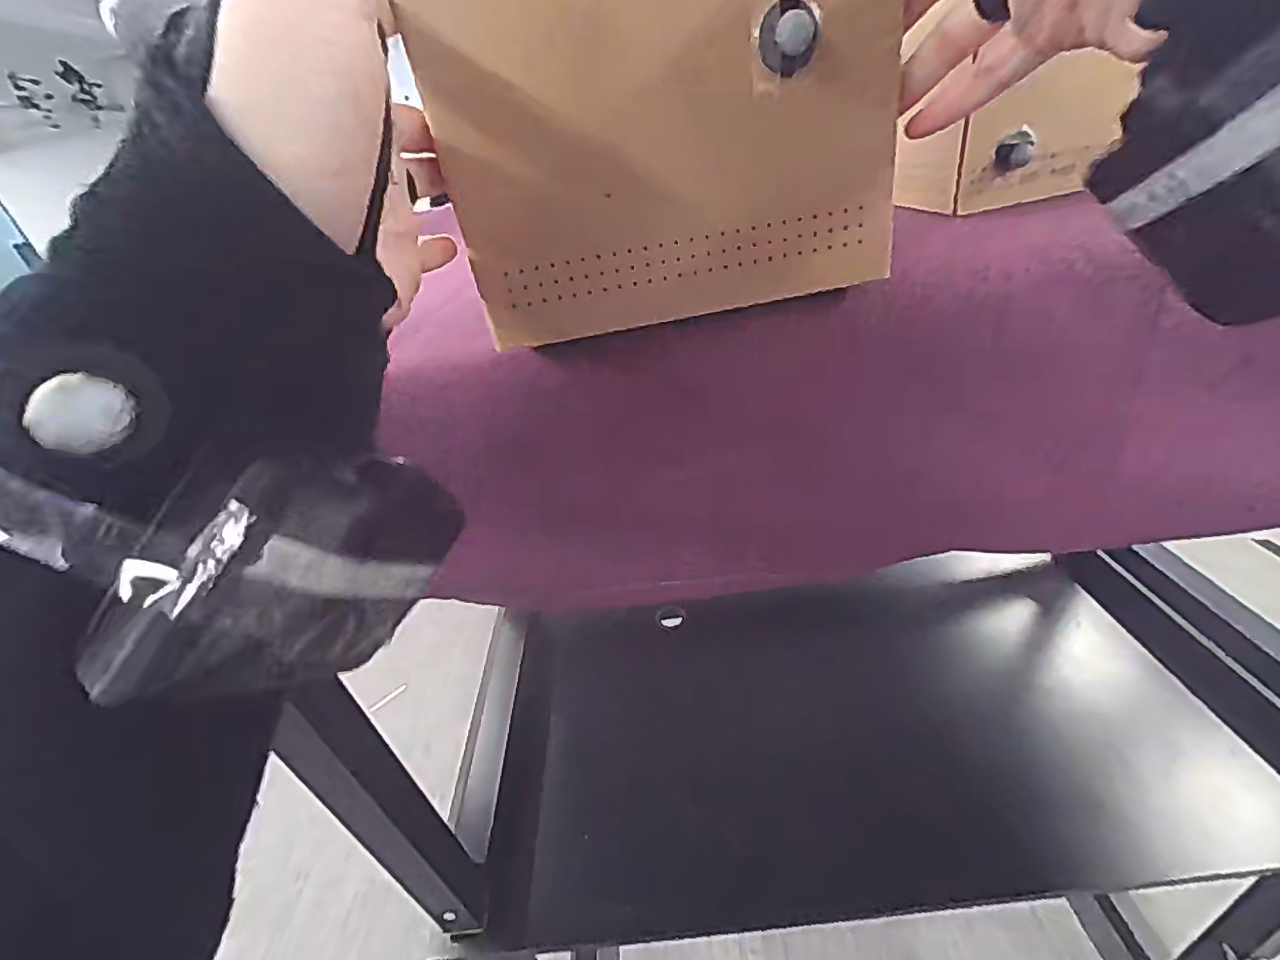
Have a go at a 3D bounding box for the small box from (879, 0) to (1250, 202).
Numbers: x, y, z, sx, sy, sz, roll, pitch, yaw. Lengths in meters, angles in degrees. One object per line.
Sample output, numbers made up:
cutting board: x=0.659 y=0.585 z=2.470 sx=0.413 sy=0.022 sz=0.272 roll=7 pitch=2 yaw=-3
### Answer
small box: x=0.252 y=-0.295 z=0.363 sx=0.168 sy=0.176 sz=0.179 roll=-12 pitch=32 yaw=-1

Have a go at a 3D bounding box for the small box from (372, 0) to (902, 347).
small box: x=0.000 y=-0.176 z=0.250 sx=0.179 sy=0.176 sz=0.168 roll=-11 pitch=29 yaw=0
